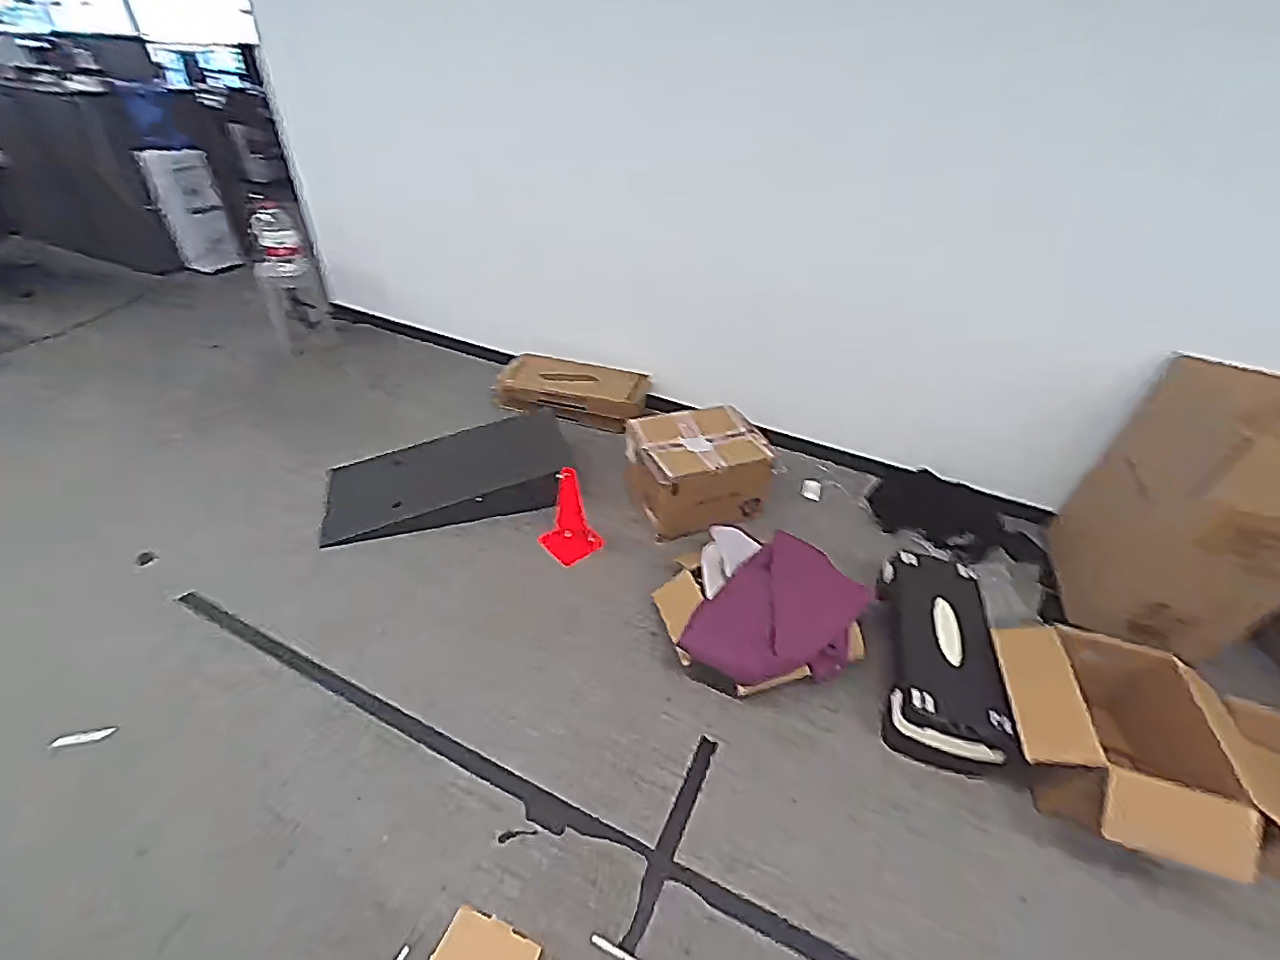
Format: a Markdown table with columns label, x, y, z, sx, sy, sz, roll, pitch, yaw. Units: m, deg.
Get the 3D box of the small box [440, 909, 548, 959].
| label | x | y | z | sx | sy | sz | roll | pitch | yaw |
| --- | --- | --- | --- | --- | --- | --- | --- | --- | --- |
| small box | -0.267 | 0.894 | 0.927 | 0.168 | 0.176 | 0.179 | 15 | 41 | 16 |
